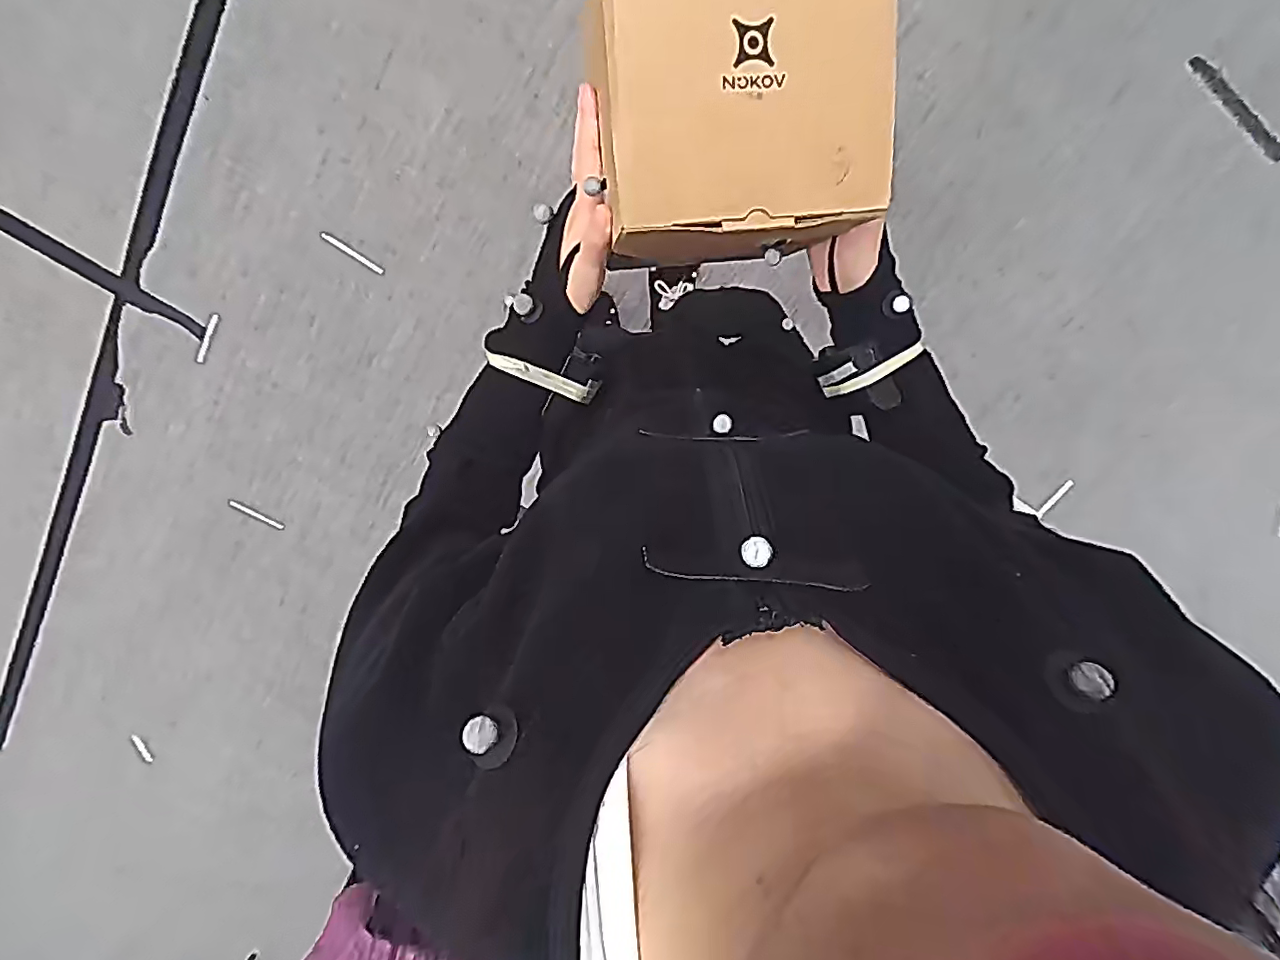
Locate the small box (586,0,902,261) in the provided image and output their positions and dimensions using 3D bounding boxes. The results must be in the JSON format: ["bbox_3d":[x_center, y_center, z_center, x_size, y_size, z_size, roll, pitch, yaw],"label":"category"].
[{"bbox_3d":[0.054,-0.254,0.371,0.168,0.176,0.179,-7,104,-6],"label":"small box"}]
